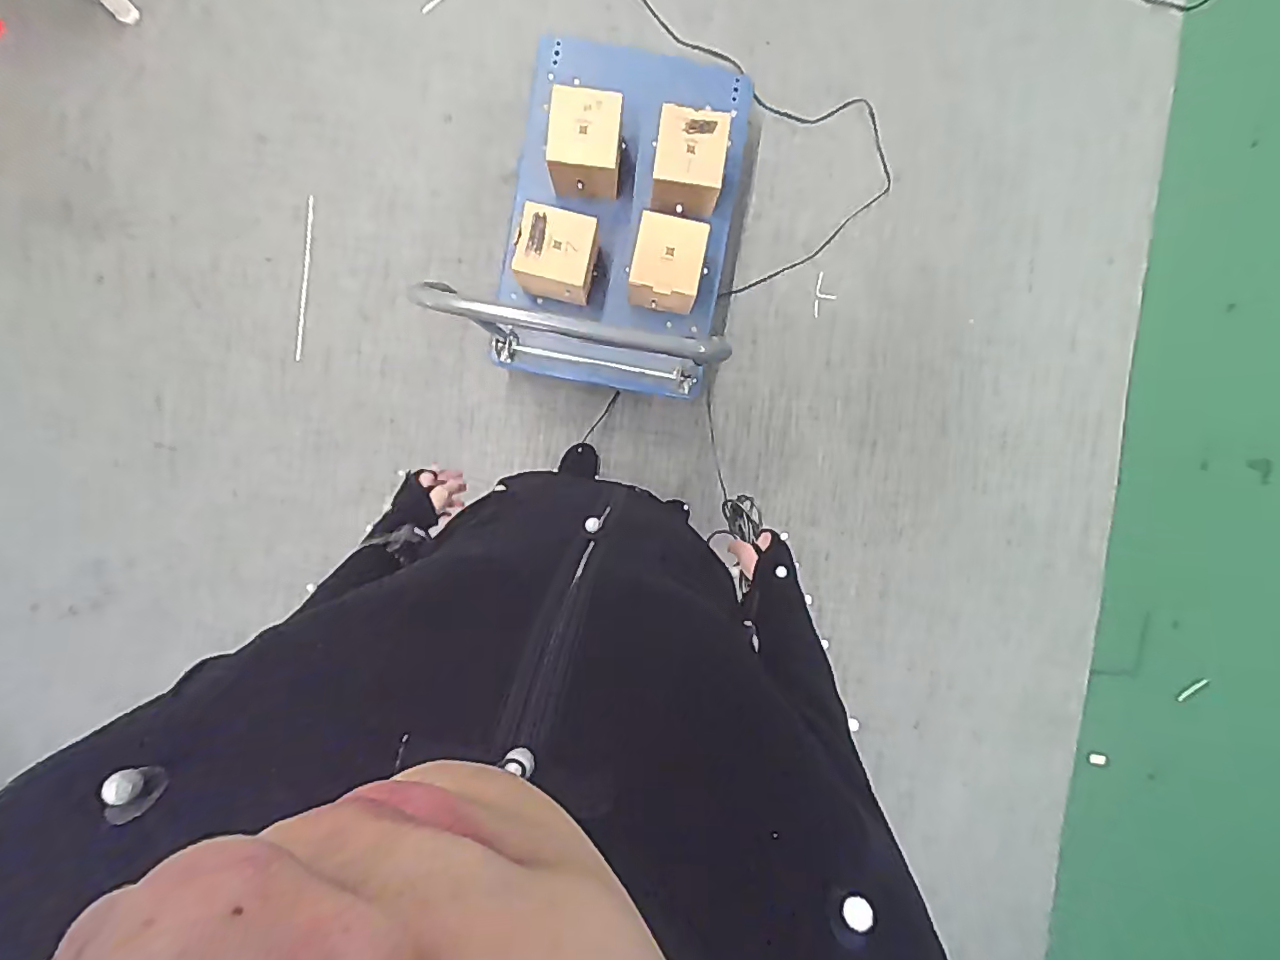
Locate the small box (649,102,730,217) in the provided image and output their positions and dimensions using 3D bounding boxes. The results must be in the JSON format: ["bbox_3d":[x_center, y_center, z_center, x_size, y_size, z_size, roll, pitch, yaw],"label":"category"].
[{"bbox_3d":[0.116,-0.786,1.343,0.168,0.176,0.179,9,94,-2],"label":"small box"}]

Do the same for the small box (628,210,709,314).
[{"bbox_3d":[0.064,-0.538,1.355,0.168,0.176,0.179,11,93,-2],"label":"small box"}]

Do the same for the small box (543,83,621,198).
[{"bbox_3d":[-0.137,-0.825,1.333,0.168,0.176,0.179,6,93,-3],"label":"small box"}]
